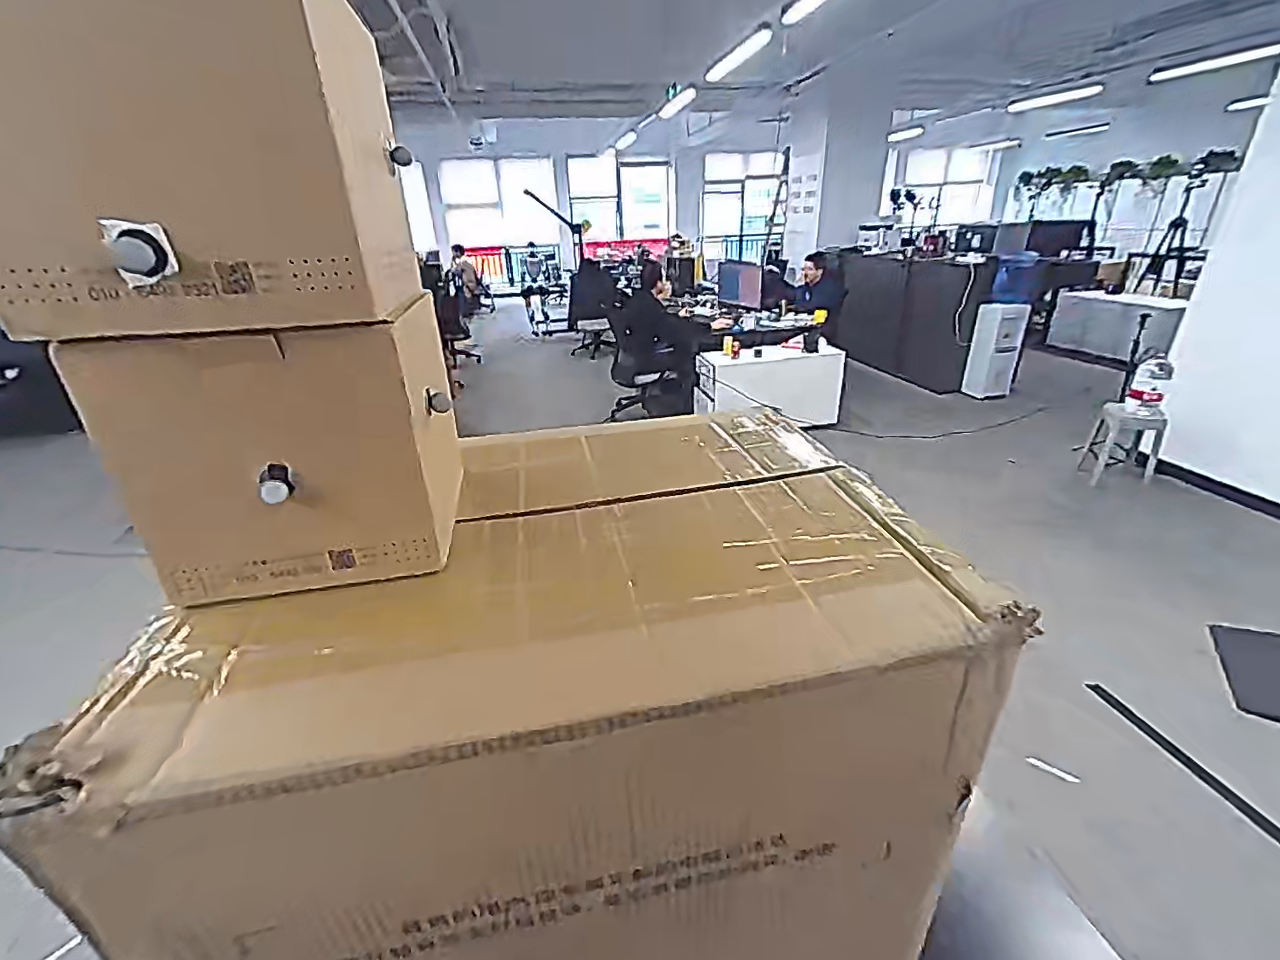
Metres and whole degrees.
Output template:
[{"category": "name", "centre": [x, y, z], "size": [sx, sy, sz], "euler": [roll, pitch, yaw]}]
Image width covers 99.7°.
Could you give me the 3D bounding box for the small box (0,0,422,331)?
[{"category": "small box", "centre": [-0.232, -0.184, 0.307], "size": [0.168, 0.176, 0.179], "euler": [-8, 26, -11]}]

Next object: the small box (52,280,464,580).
[{"category": "small box", "centre": [-0.228, -0.042, 0.389], "size": [0.168, 0.176, 0.179], "euler": [-7, 26, -11]}]
